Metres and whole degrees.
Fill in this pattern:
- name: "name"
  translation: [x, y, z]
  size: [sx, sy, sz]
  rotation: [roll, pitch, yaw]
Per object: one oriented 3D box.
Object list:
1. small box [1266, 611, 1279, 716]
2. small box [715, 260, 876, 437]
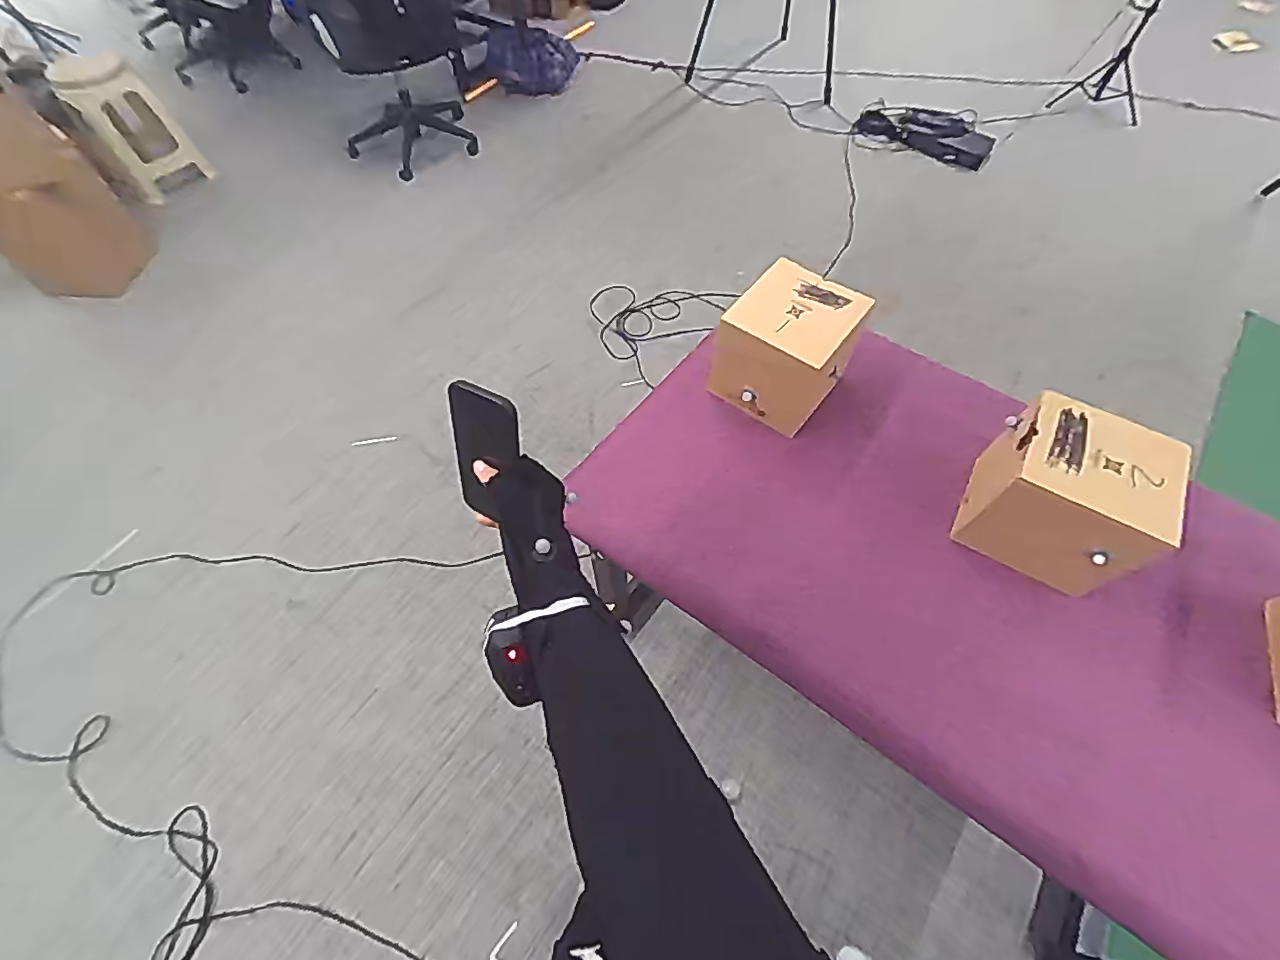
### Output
- name: "small box"
  translation: [0.871, 0.230, 0.599]
  size: [0.168, 0.176, 0.179]
  rotation: [24, 60, 14]
- name: "small box"
  translation: [0.234, -0.205, 0.860]
  size: [0.168, 0.176, 0.179]
  rotation: [35, 66, 19]
